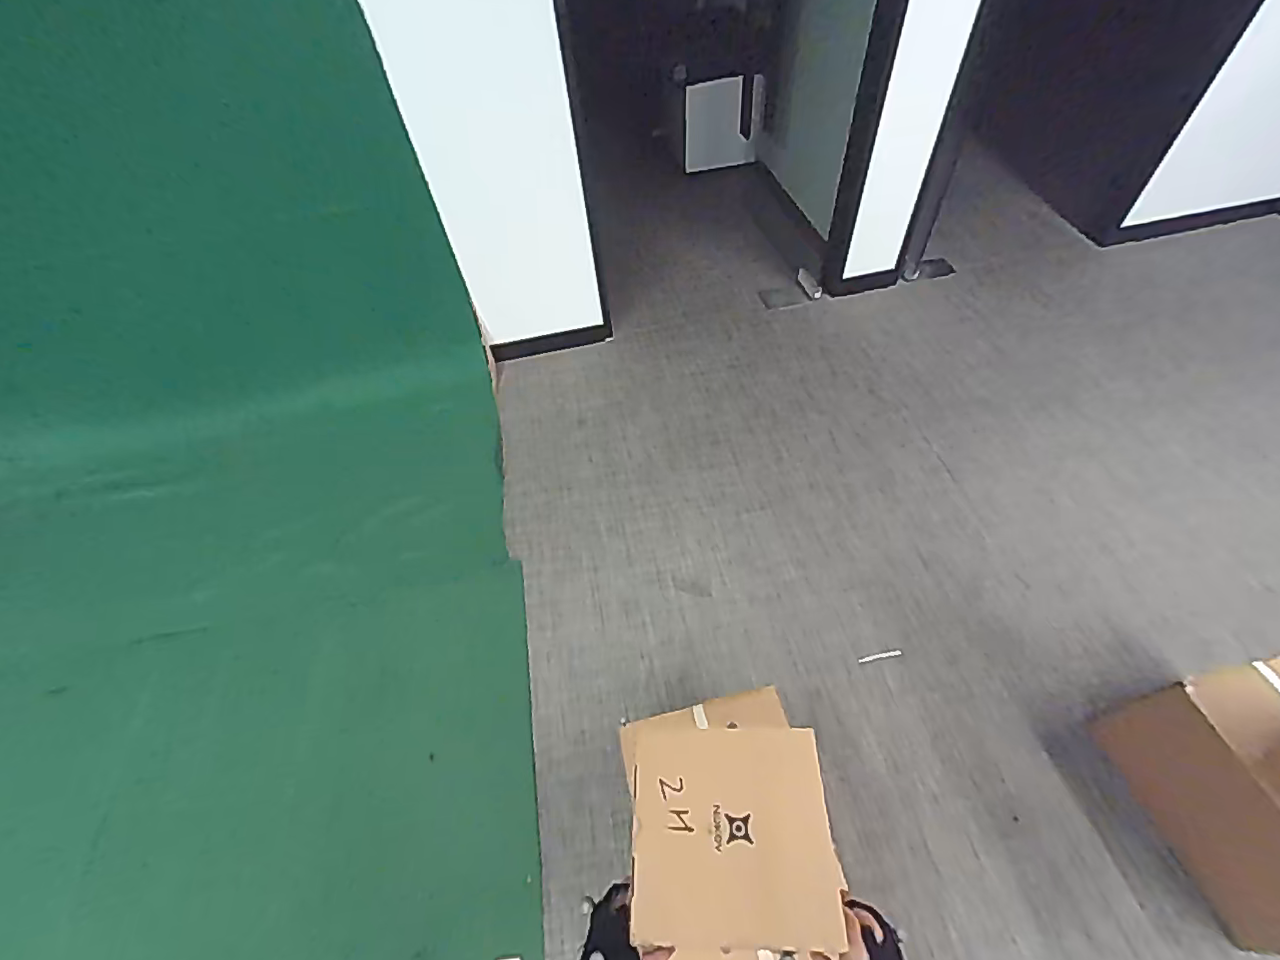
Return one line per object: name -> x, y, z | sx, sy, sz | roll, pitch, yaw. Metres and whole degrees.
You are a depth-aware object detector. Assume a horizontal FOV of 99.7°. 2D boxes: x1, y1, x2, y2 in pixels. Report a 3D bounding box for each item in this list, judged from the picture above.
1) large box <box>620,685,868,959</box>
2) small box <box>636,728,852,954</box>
large box -> 0.171, 0.673, 1.034 | 0.320, 0.320, 0.408 | -13, 52, -3
small box -> 0.095, 0.360, 0.545 | 0.179, 0.176, 0.168 | -3, 51, 7
